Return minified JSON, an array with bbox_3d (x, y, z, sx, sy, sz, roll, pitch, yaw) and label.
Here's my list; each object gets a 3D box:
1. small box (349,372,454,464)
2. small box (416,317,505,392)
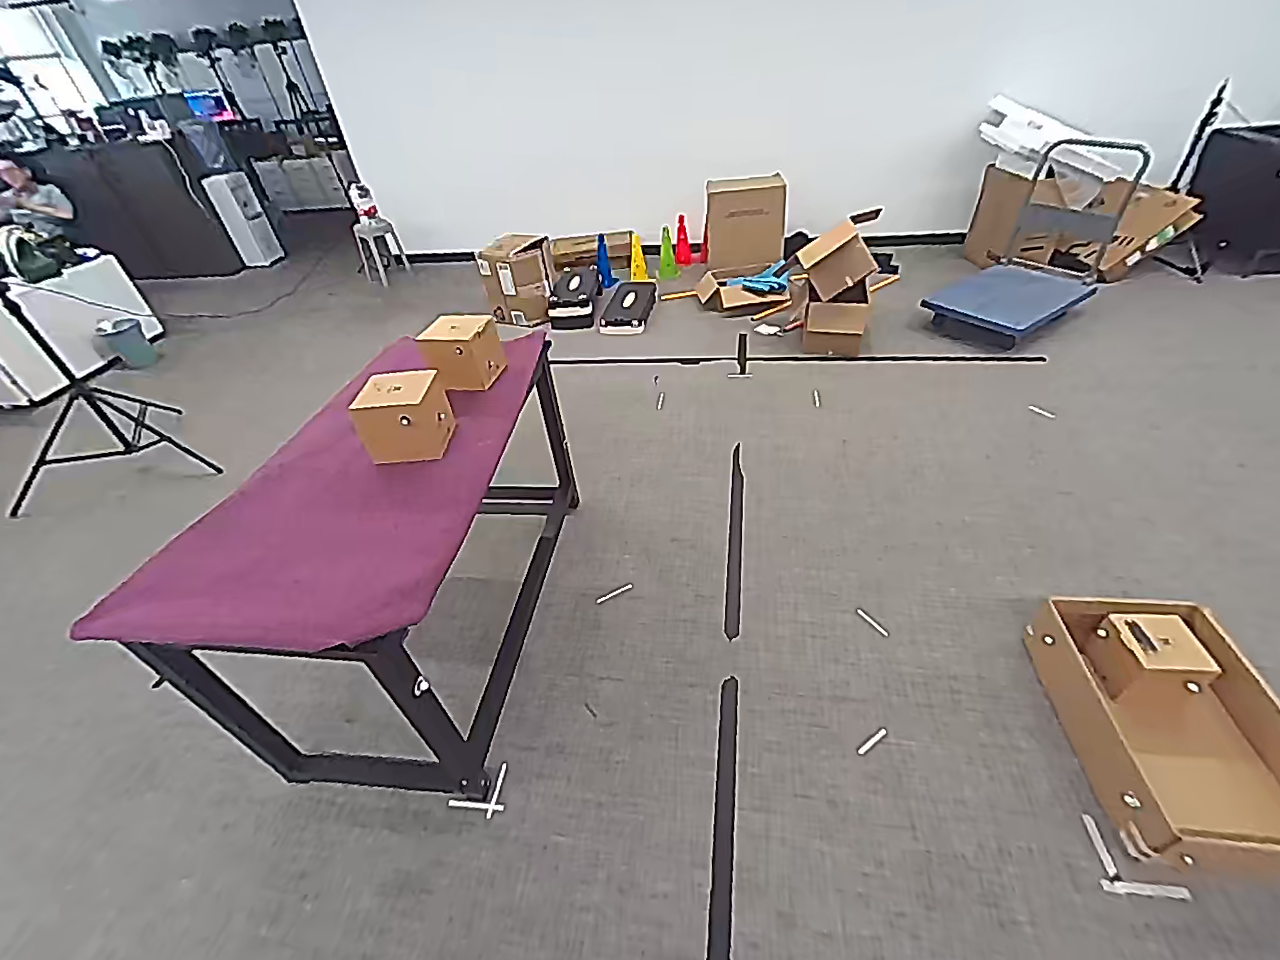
[{"bbox_3d":[-0.596,-0.156,1.382,0.179,0.176,0.168,-5,39,3],"label":"small box"},{"bbox_3d":[-0.537,-0.379,1.639,0.179,0.176,0.168,3,41,13],"label":"small box"}]
